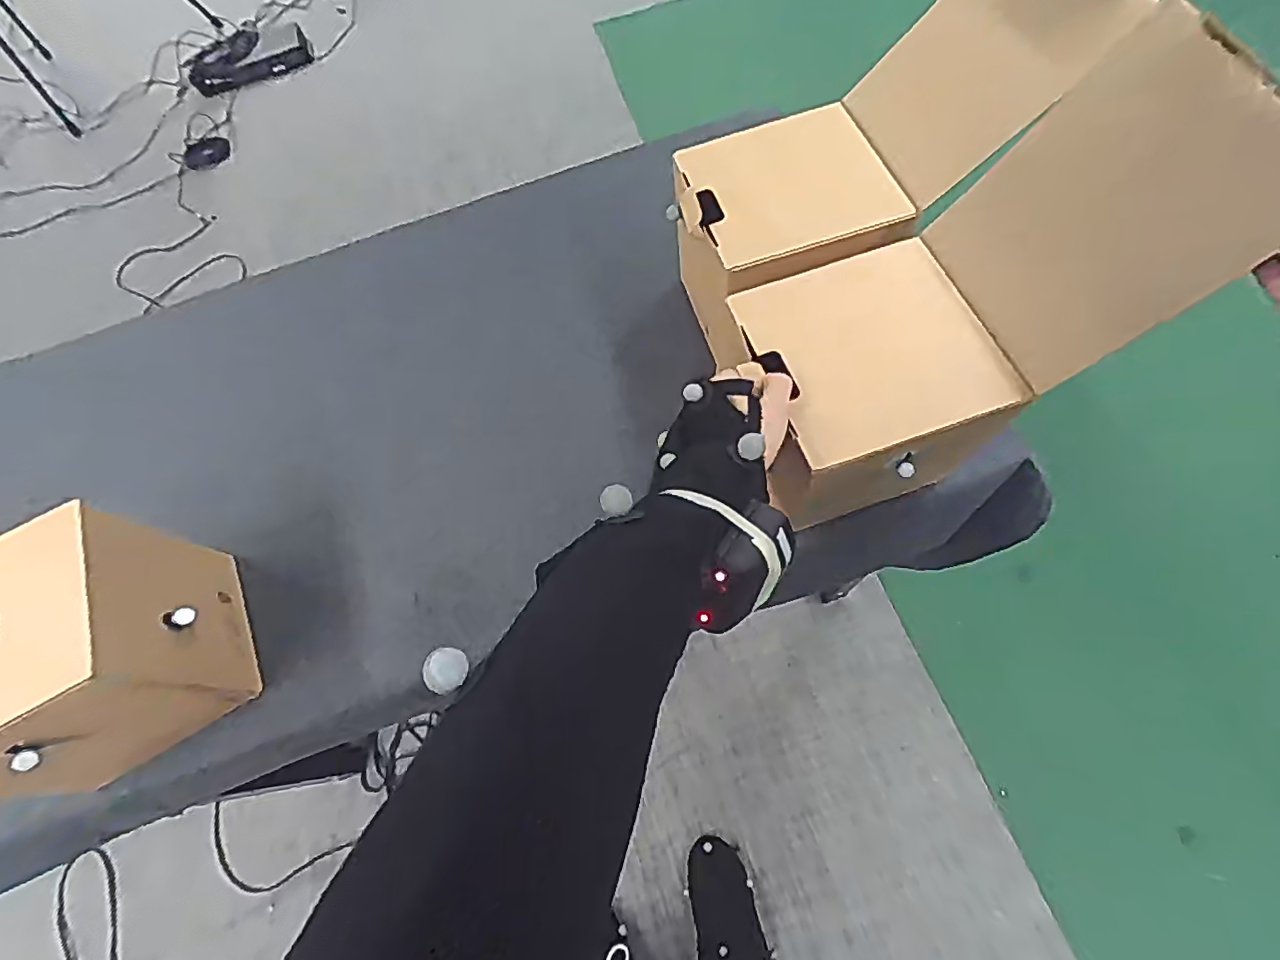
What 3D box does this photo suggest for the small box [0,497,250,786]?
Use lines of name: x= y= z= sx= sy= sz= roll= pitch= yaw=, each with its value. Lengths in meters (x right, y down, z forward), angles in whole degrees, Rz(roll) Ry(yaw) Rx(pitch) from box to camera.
small box: x=-0.490 y=0.147 z=0.482 sx=0.179 sy=0.176 sz=0.168 roll=-30 pitch=65 yaw=-5

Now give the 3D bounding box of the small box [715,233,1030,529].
small box: x=0.173 y=-0.073 z=0.476 sx=0.179 sy=0.176 sz=0.168 roll=-19 pitch=69 yaw=-5
